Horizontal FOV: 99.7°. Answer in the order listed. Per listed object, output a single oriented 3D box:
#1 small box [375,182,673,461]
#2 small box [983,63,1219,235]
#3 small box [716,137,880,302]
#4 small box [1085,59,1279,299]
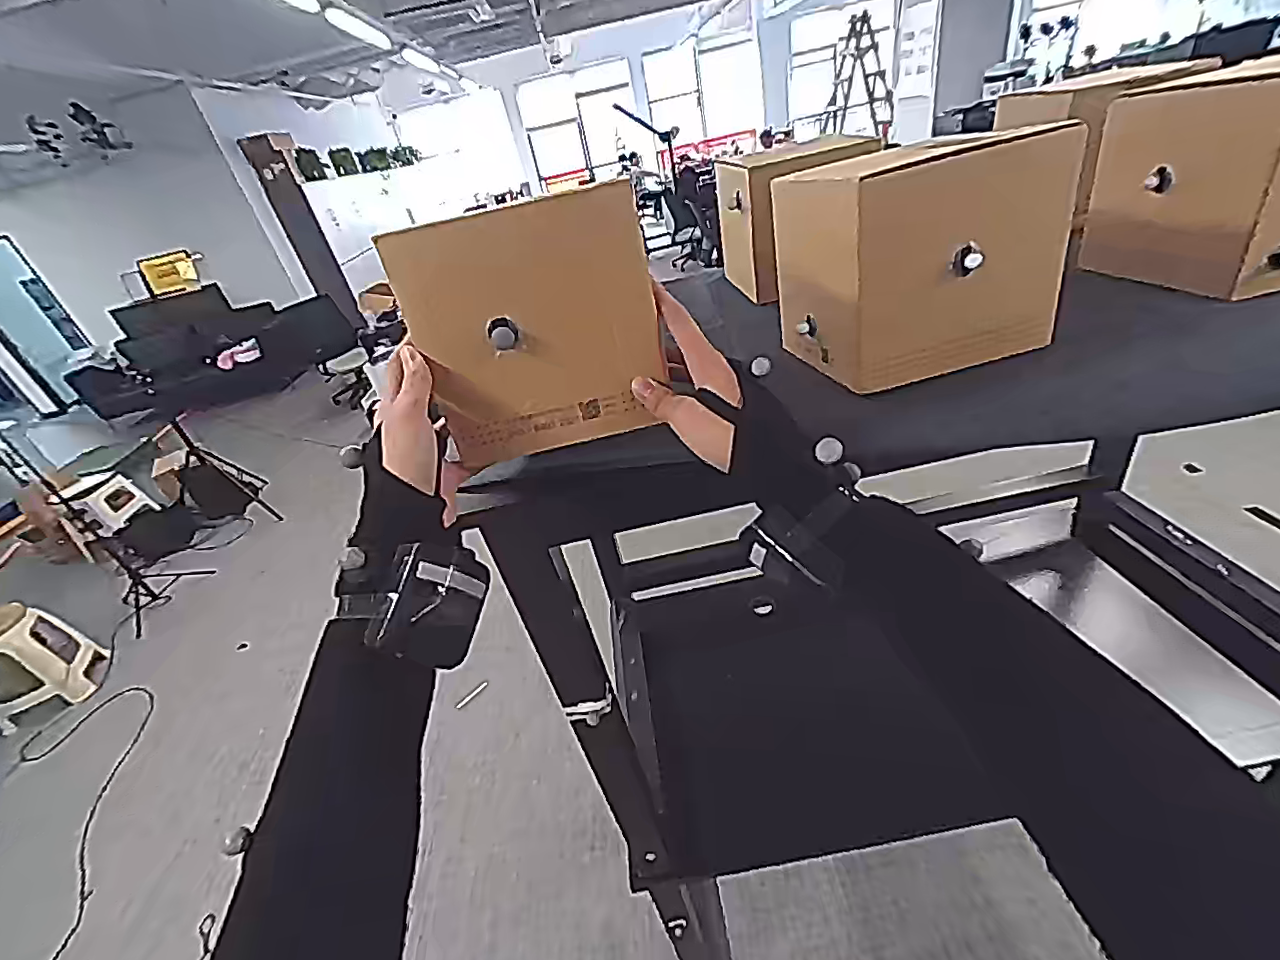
[{"bbox_3d":[-0.076,-0.128,0.439,0.168,0.176,0.179,-13,28,-1],"label":"small box"},{"bbox_3d":[0.615,-0.451,0.752,0.168,0.176,0.179,-9,32,5],"label":"small box"},{"bbox_3d":[0.212,-0.358,0.750,0.168,0.176,0.179,-12,33,0],"label":"small box"},{"bbox_3d":[0.566,-0.276,0.496,0.168,0.176,0.179,-12,30,2],"label":"small box"}]
